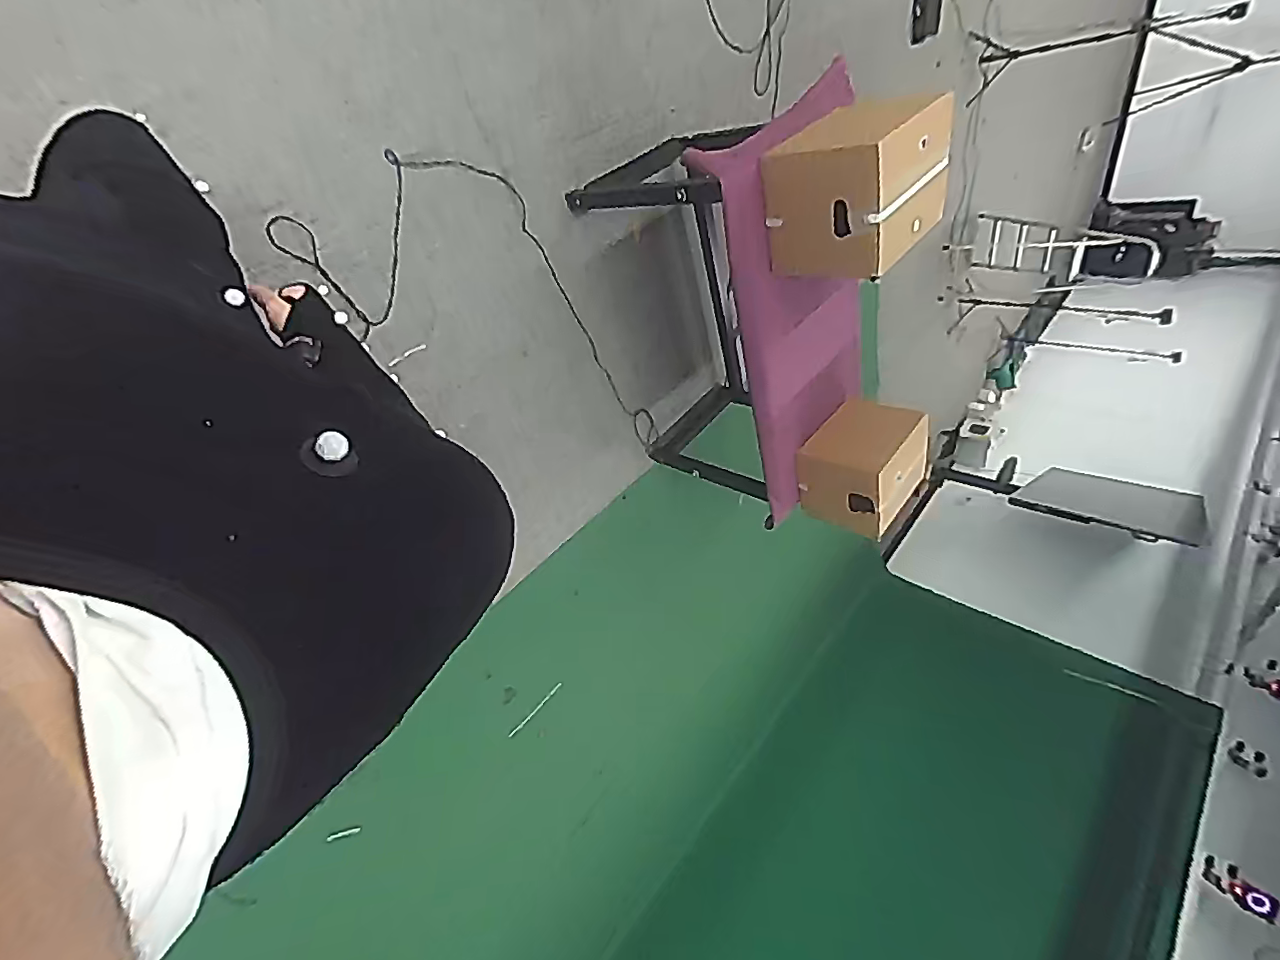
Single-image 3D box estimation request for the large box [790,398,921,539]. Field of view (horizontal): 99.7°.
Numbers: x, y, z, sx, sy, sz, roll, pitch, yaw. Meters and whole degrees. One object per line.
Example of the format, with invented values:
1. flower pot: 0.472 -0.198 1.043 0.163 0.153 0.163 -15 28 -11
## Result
1. large box: 0.822 -0.059 2.059 0.408 0.320 0.320 -41 132 -27
